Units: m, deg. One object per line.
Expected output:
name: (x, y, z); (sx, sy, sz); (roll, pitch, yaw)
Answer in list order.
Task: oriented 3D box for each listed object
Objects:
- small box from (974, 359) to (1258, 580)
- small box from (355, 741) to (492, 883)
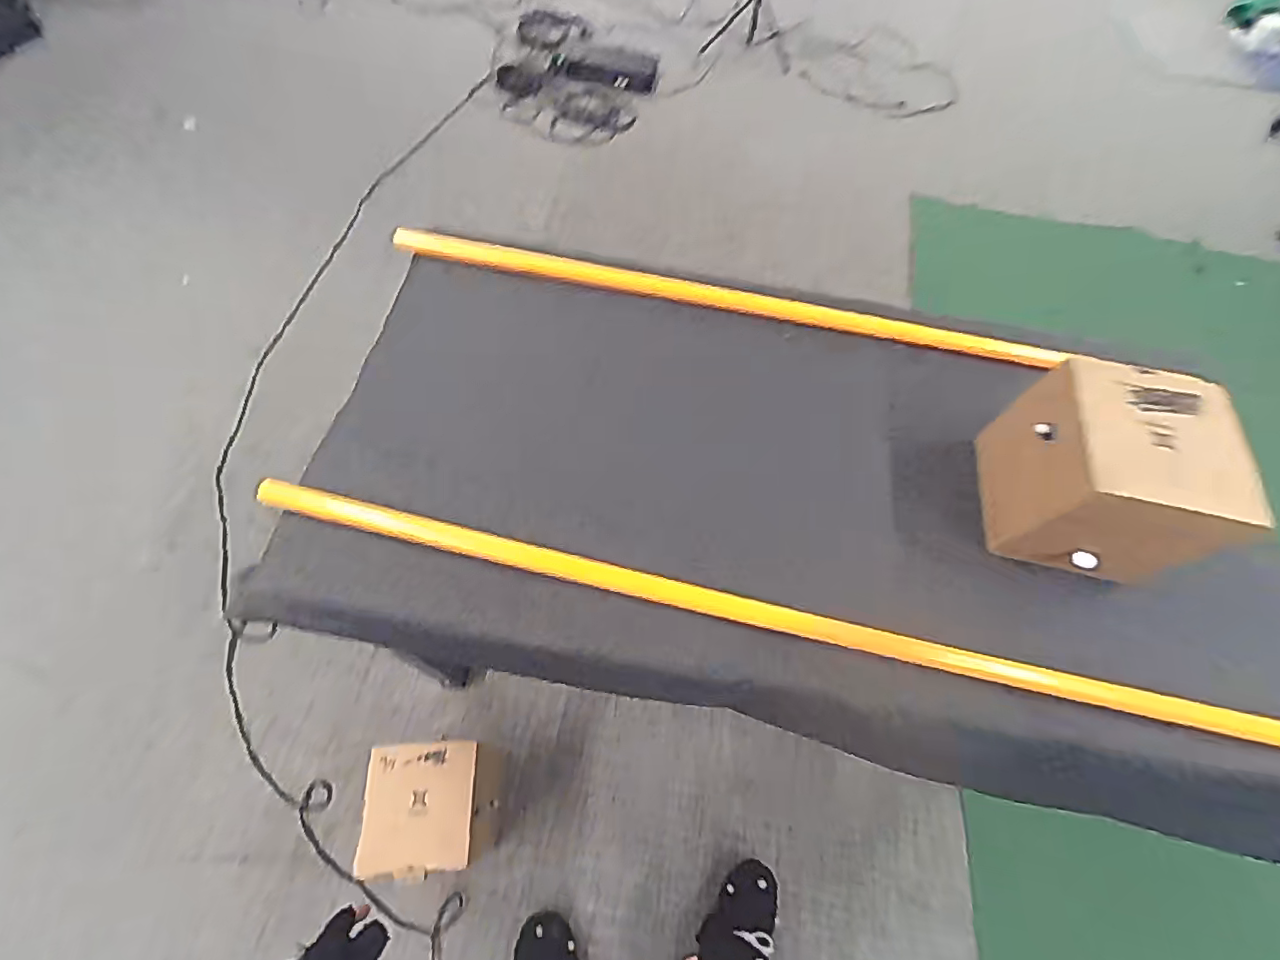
small box: (0.517, -0.006, 0.625); (0.168, 0.176, 0.179); (12, 61, 3)
small box: (-0.347, 0.544, 0.903); (0.168, 0.176, 0.179); (-5, 61, -5)
